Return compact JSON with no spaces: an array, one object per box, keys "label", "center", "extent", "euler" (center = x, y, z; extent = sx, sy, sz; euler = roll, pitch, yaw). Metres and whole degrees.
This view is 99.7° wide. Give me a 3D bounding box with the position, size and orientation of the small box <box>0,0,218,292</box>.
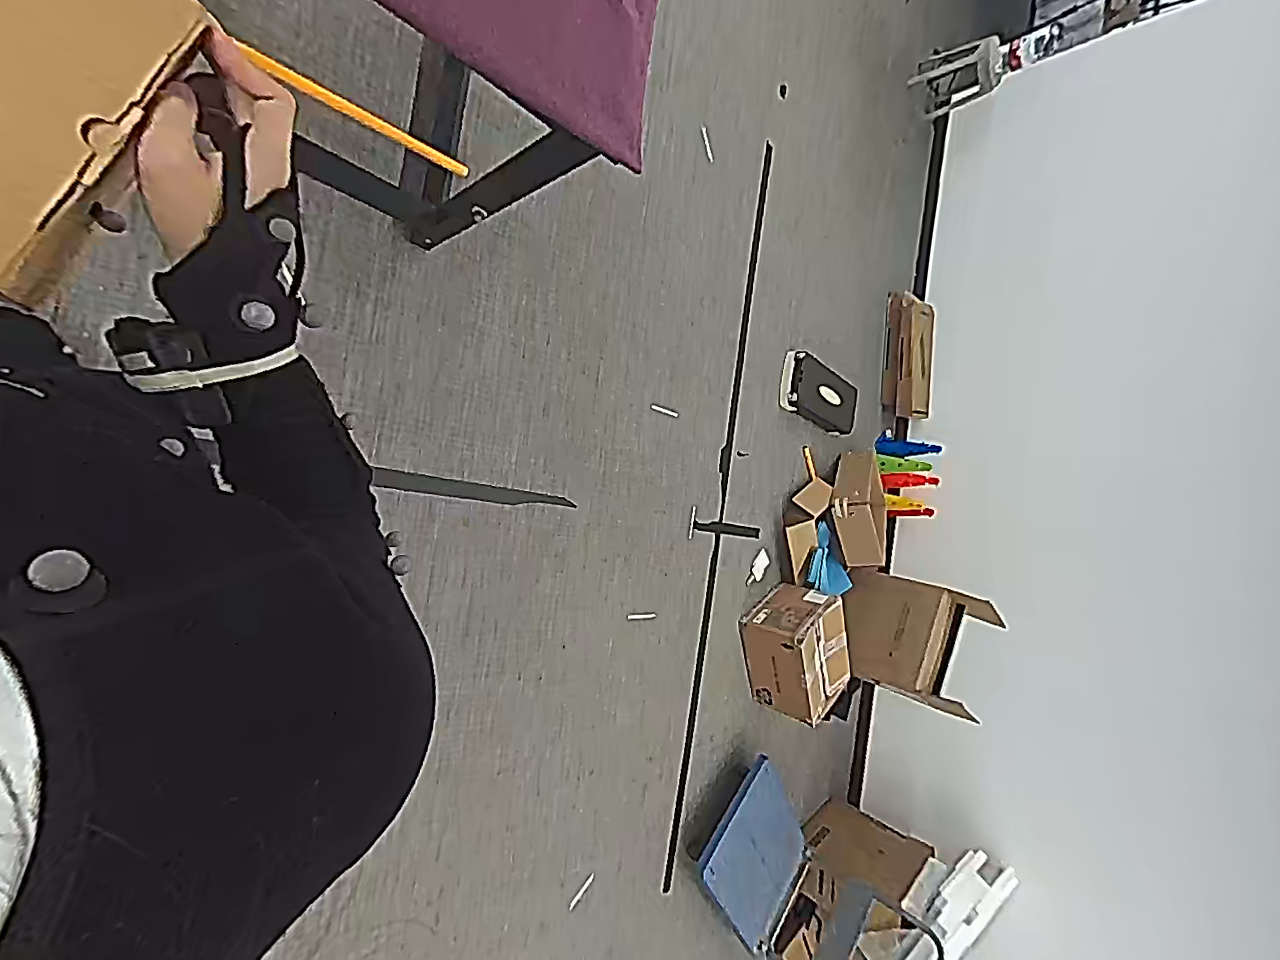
[{"label":"small box","center":[-0.349,-0.205,0.249],"extent":[0.179,0.176,0.168],"euler":[36,74,-45]}]
